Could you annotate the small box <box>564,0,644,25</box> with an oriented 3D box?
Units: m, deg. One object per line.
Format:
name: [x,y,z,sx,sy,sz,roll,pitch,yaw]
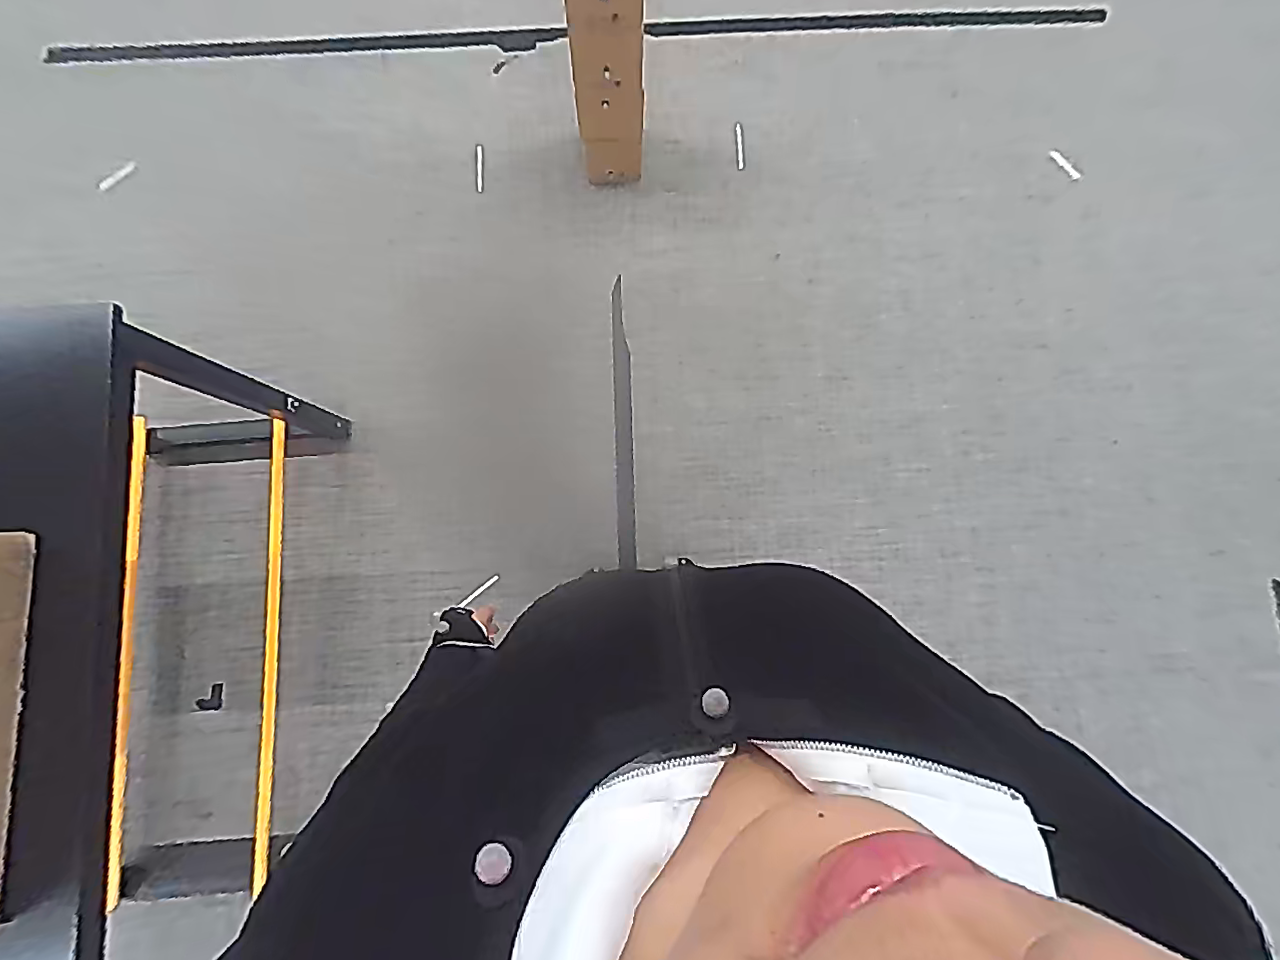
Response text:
small box: [-0.078,-1.061,1.087,0.168,0.176,0.179,-3,84,0]

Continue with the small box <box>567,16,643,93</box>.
small box: [-0.076,-1.044,1.250,0.168,0.176,0.179,-1,83,0]

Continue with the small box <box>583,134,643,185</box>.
small box: [-0.083,-1.000,1.576,0.168,0.176,0.179,-8,84,-1]

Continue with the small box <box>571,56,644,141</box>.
small box: [-0.082,-1.021,1.413,0.179,0.176,0.168,-4,83,-1]
